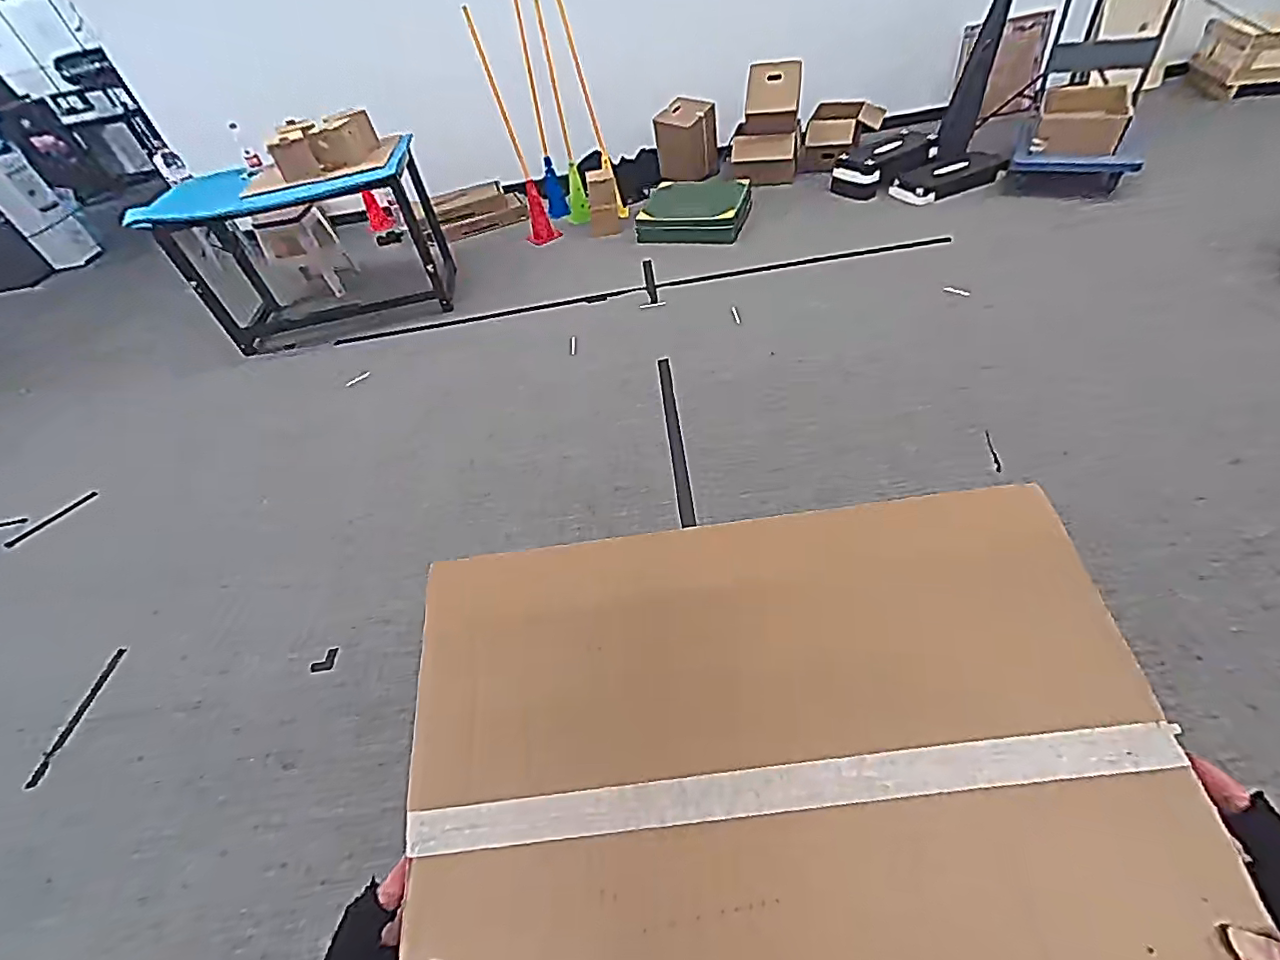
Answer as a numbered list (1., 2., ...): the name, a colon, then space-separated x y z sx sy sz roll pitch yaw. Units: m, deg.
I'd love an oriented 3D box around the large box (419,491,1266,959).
1. large box: 0.091 0.240 0.425 0.408 0.320 0.320 -8 62 2
